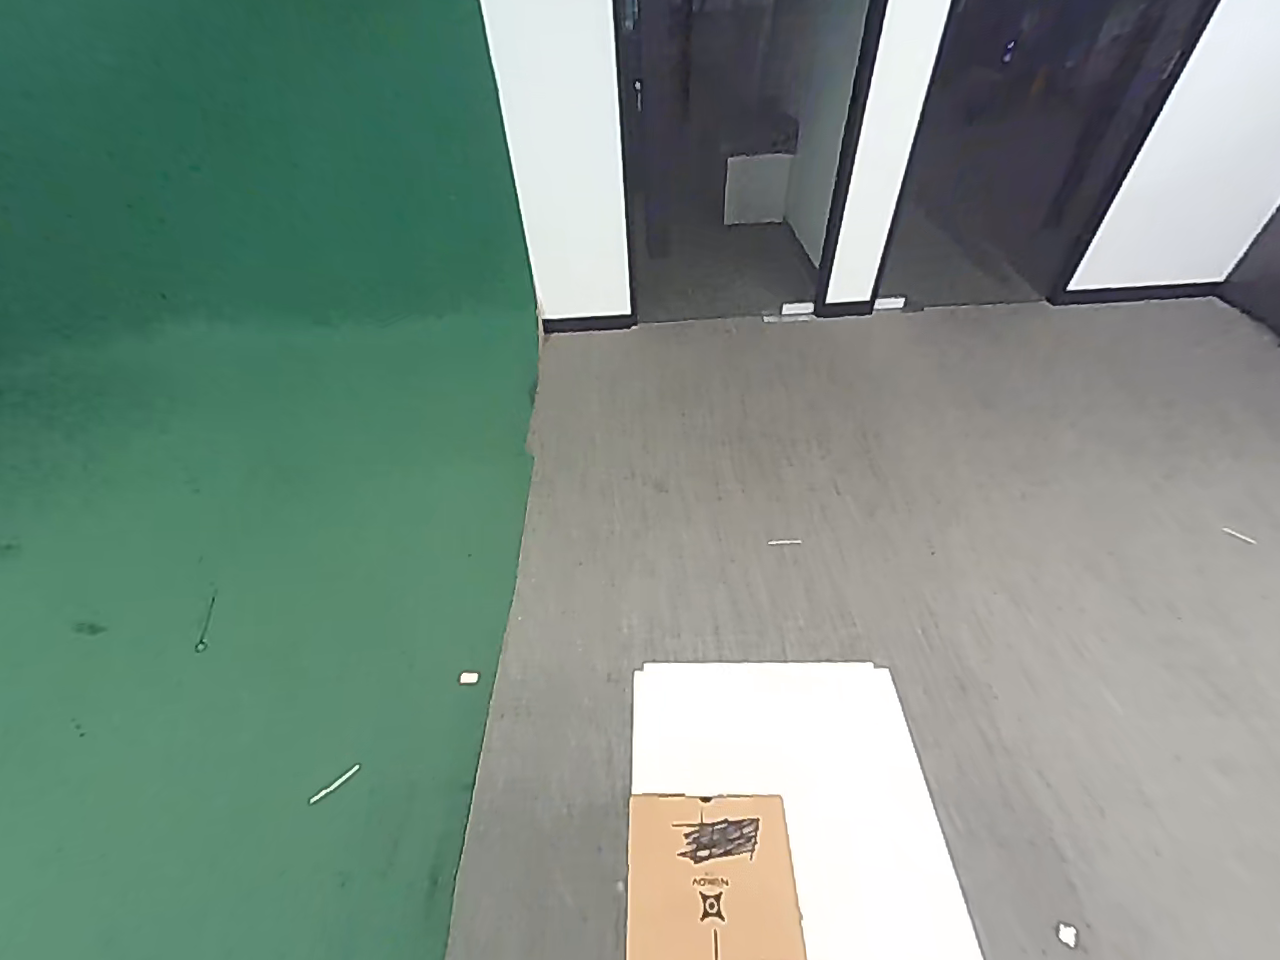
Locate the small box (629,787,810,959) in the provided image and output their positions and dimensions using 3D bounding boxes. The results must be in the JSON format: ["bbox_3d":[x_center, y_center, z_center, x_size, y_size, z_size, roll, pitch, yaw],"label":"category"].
[{"bbox_3d":[0.075,0.452,0.581,0.168,0.176,0.179,-1,46,2],"label":"small box"}]
